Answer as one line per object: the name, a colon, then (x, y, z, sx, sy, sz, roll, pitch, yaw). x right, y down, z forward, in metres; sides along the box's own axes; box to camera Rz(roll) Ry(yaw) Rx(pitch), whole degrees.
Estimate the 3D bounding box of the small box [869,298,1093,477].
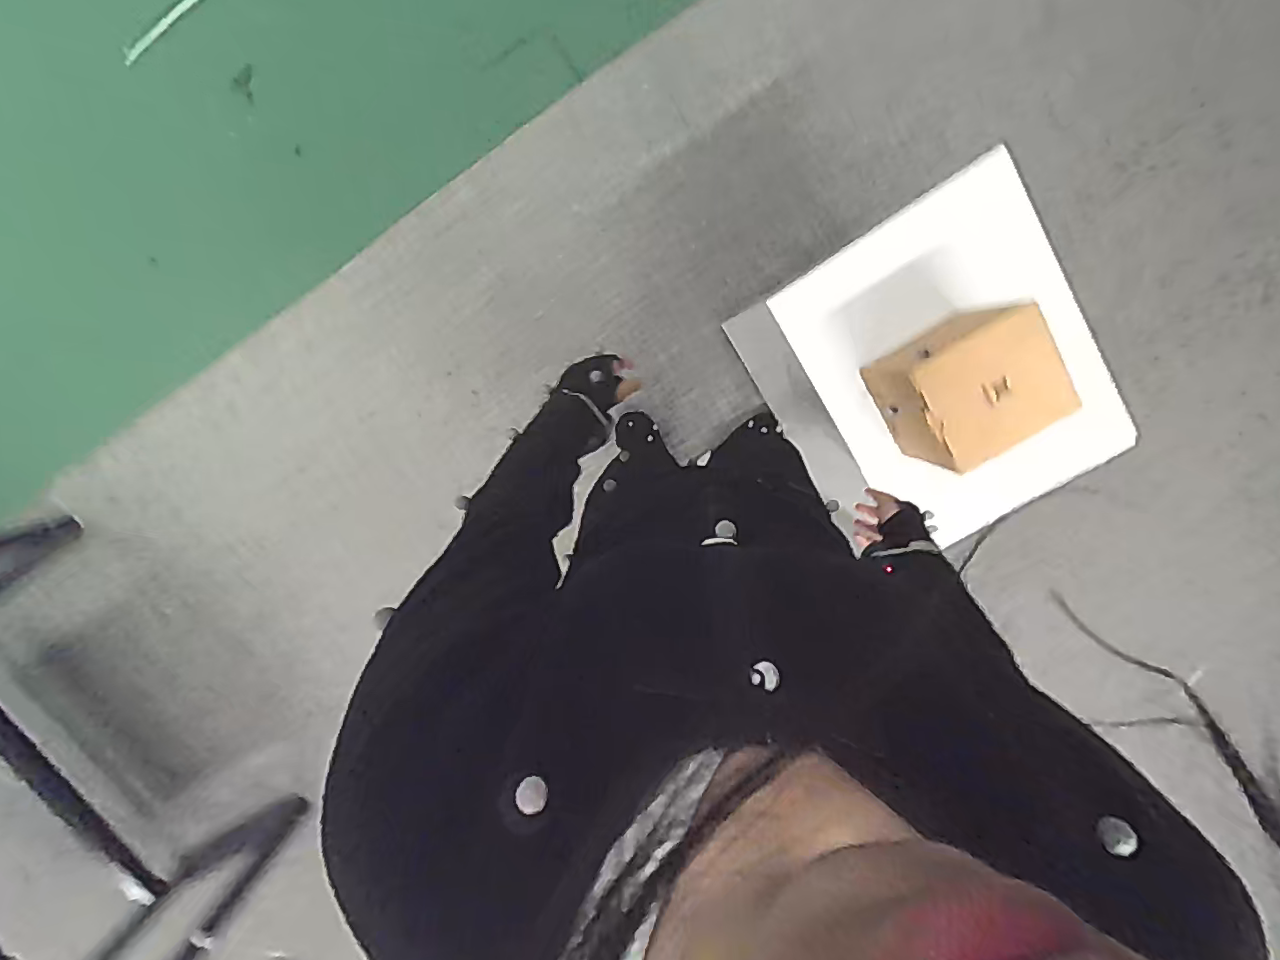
small box: (0.461, -0.130, 0.757, 0.179, 0.176, 0.168, -31, 100, 7)
